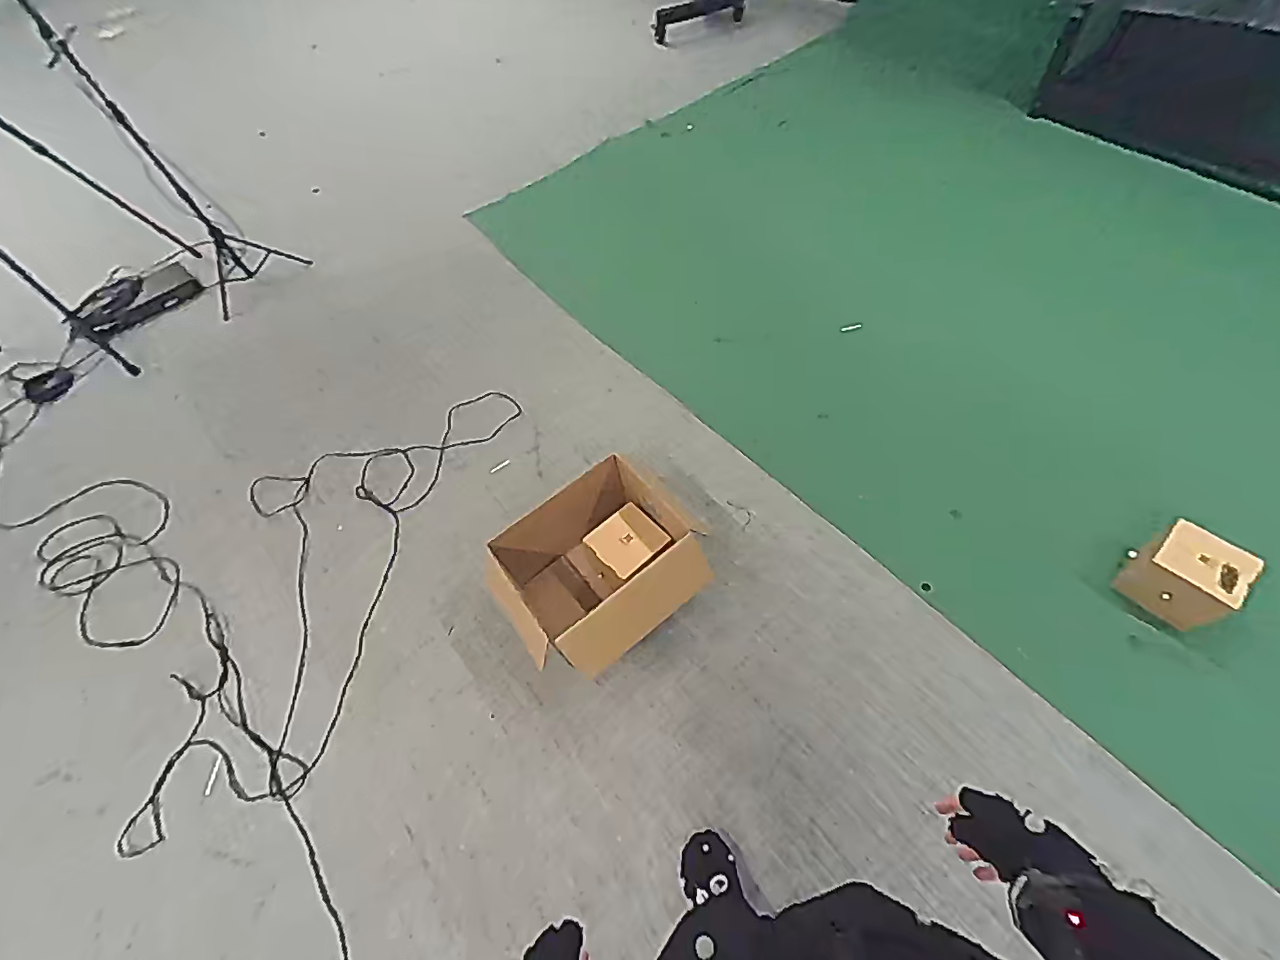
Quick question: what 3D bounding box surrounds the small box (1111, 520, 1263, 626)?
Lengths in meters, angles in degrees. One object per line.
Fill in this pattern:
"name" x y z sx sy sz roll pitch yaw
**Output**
"small box" 1.338 0.238 1.335 0.168 0.176 0.179 -40 61 -18
